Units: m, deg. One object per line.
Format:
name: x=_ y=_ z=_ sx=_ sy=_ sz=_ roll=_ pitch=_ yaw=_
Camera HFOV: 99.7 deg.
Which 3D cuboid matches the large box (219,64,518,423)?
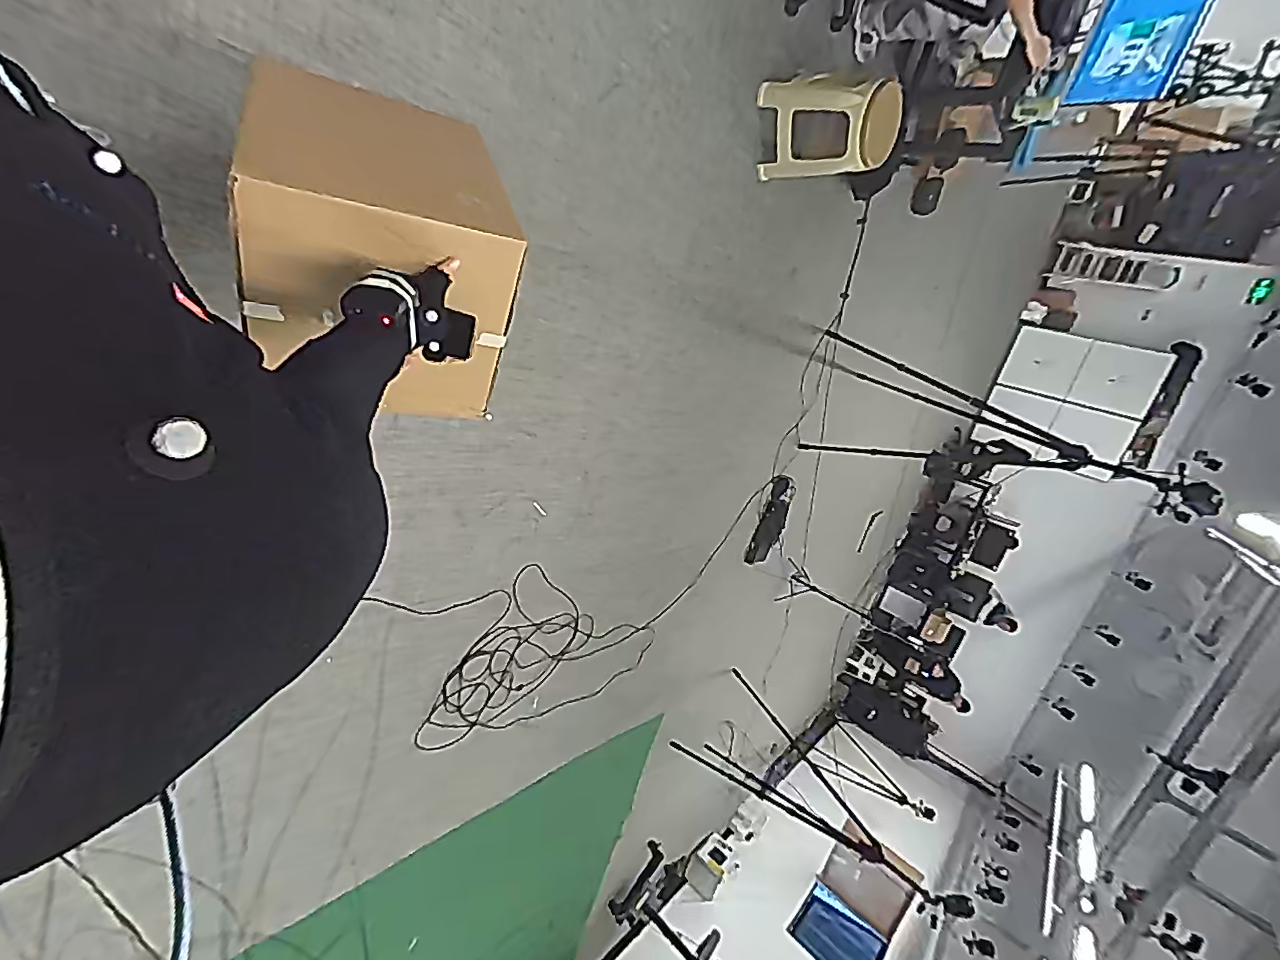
large box: x=-0.405 y=-0.344 z=0.822 sx=0.320 sy=0.408 sz=0.320 roll=1 pitch=137 yaw=-29
